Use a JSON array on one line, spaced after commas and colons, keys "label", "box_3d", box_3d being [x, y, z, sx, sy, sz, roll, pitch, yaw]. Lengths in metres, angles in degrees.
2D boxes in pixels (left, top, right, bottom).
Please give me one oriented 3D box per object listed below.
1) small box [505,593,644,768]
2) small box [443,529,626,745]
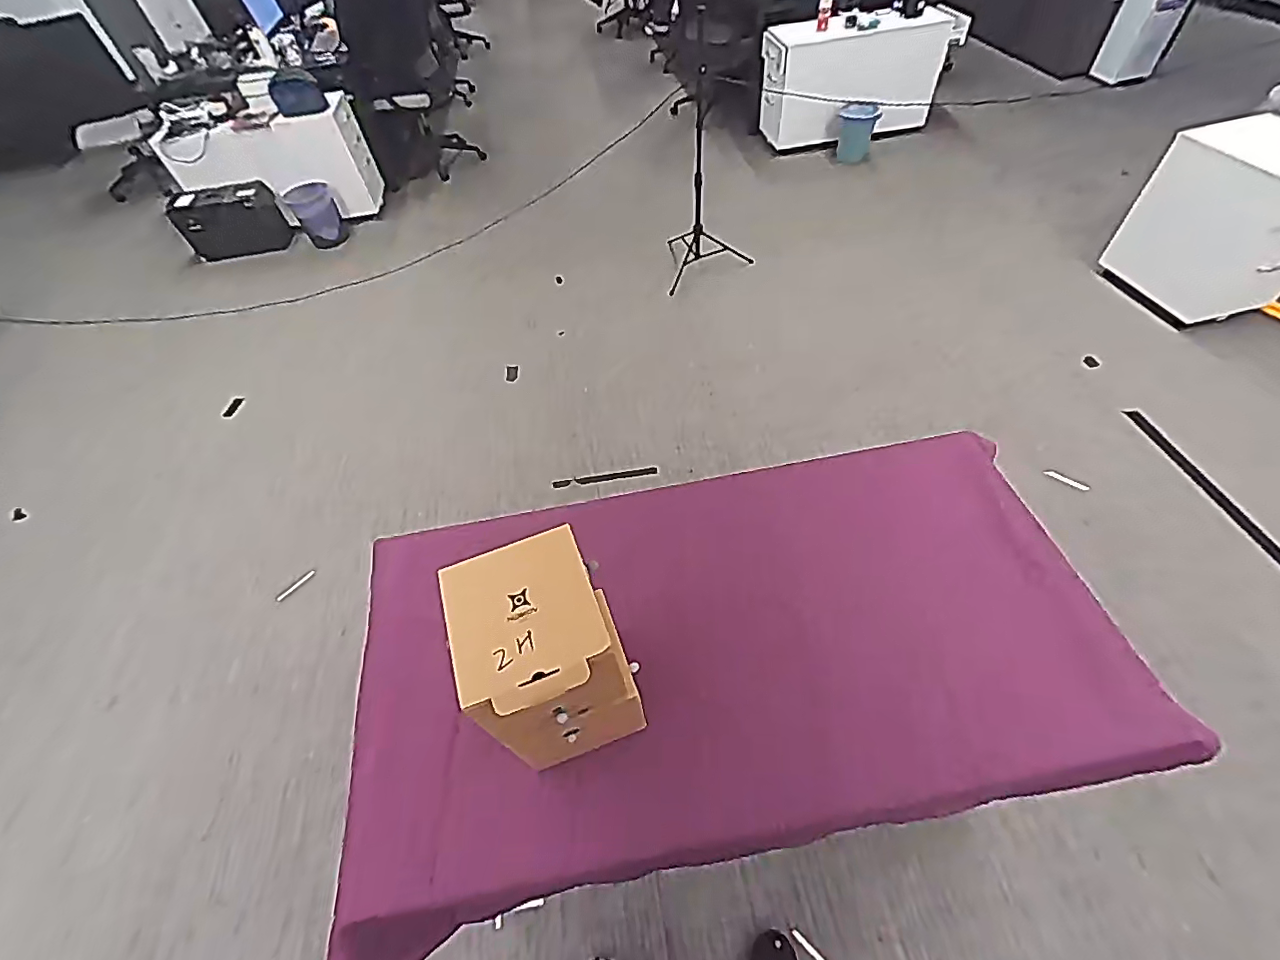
[{"label": "small box", "box_3d": [-0.103, 0.298, 0.795, 0.179, 0.176, 0.168, -17, 53, -9]}, {"label": "small box", "box_3d": [-0.125, 0.195, 0.668, 0.168, 0.176, 0.179, -19, 53, -9]}]
